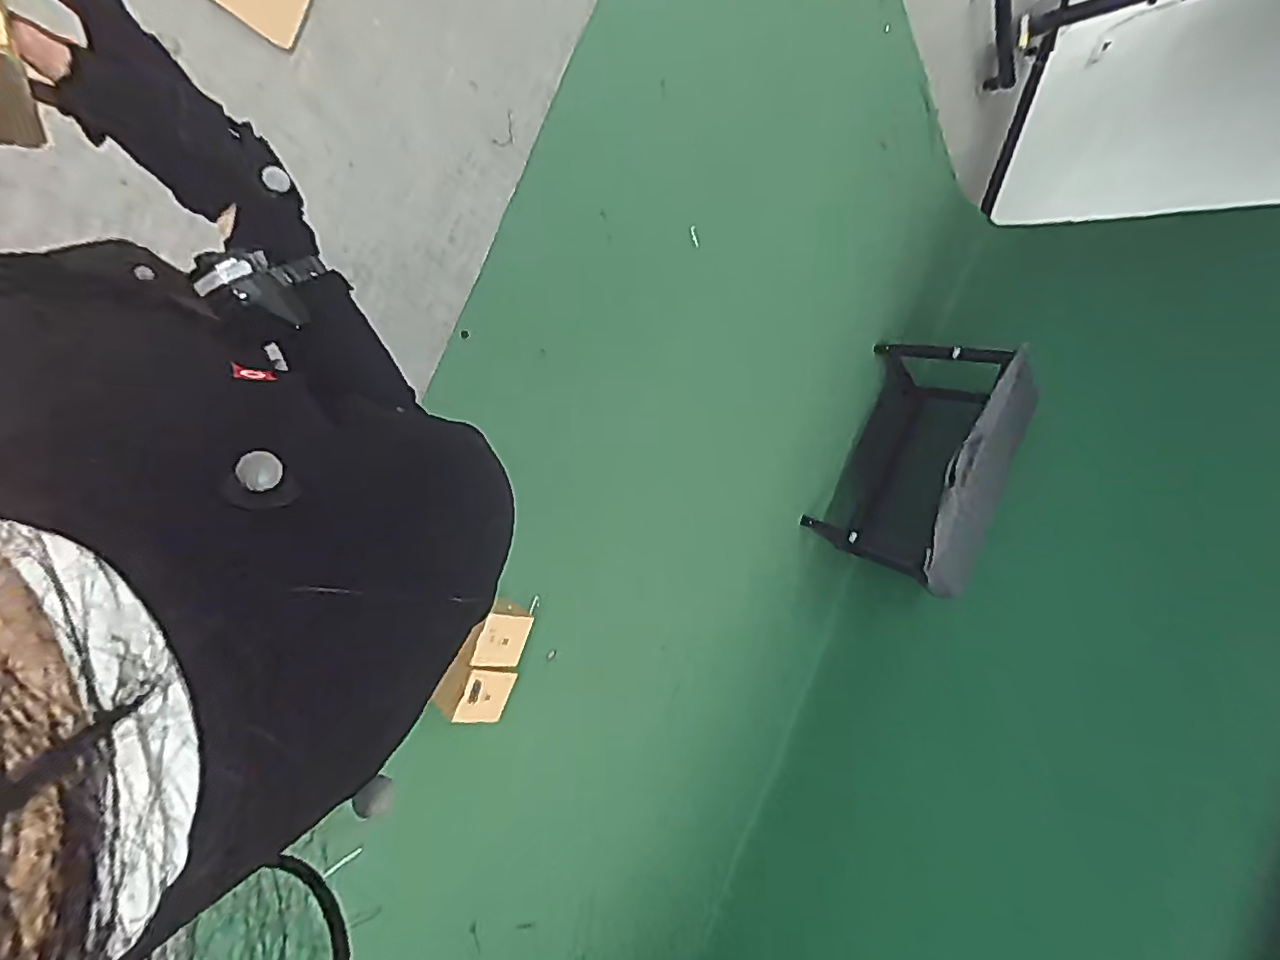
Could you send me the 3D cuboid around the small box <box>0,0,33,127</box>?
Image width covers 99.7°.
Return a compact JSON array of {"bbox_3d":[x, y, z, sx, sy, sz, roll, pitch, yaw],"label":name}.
[{"bbox_3d":[-0.400,-0.277,0.221,0.168,0.176,0.179,-18,115,-41],"label":"small box"}]
